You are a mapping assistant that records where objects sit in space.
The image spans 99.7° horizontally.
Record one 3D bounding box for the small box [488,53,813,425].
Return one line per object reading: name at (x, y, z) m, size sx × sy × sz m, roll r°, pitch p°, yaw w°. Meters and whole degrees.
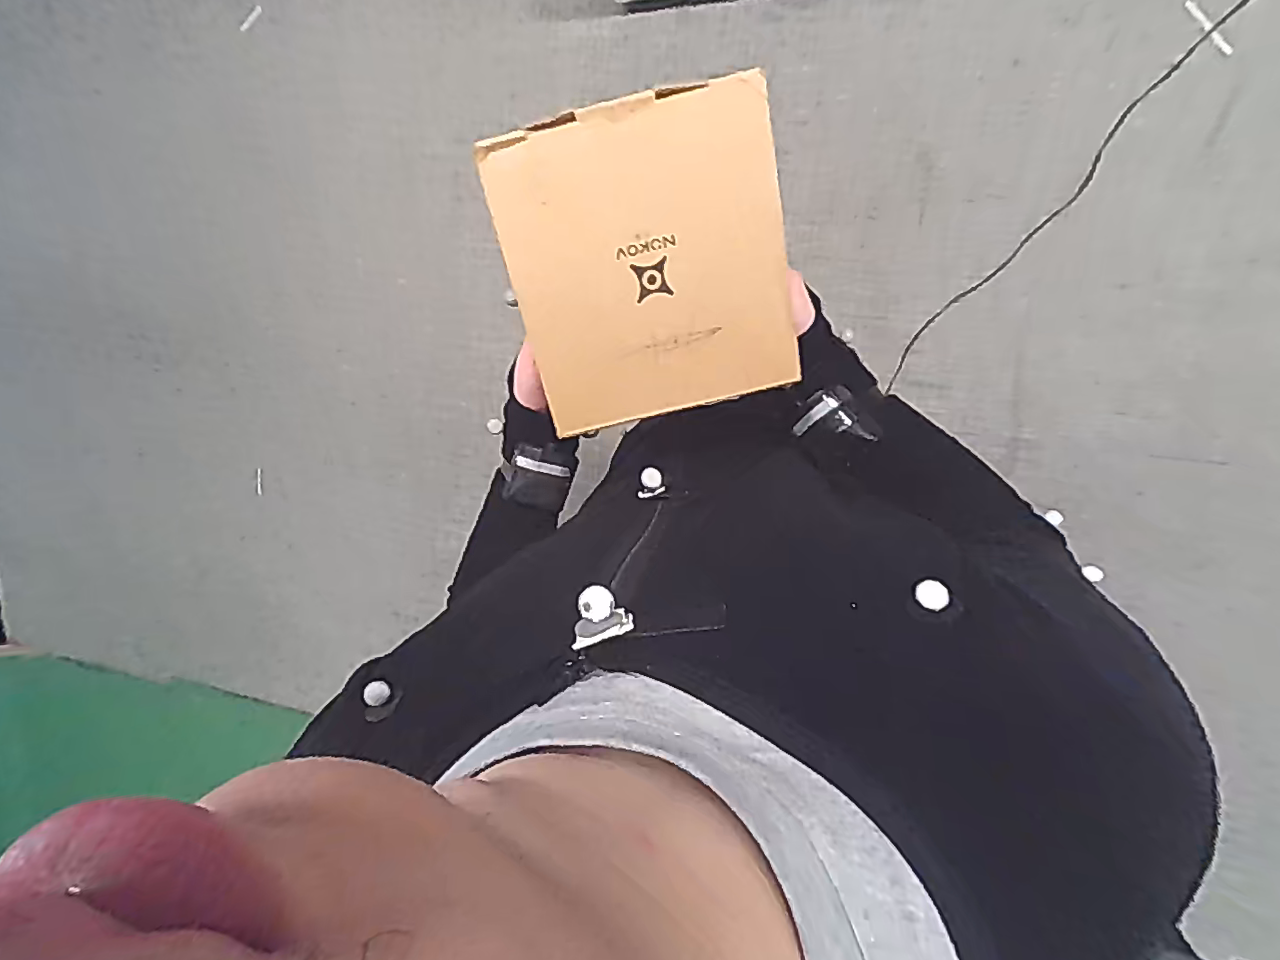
small box at (0.009, -0.161, 0.395) m, size 0.168 × 0.176 × 0.179 m, roll -14°, pitch 113°, yaw 3°
